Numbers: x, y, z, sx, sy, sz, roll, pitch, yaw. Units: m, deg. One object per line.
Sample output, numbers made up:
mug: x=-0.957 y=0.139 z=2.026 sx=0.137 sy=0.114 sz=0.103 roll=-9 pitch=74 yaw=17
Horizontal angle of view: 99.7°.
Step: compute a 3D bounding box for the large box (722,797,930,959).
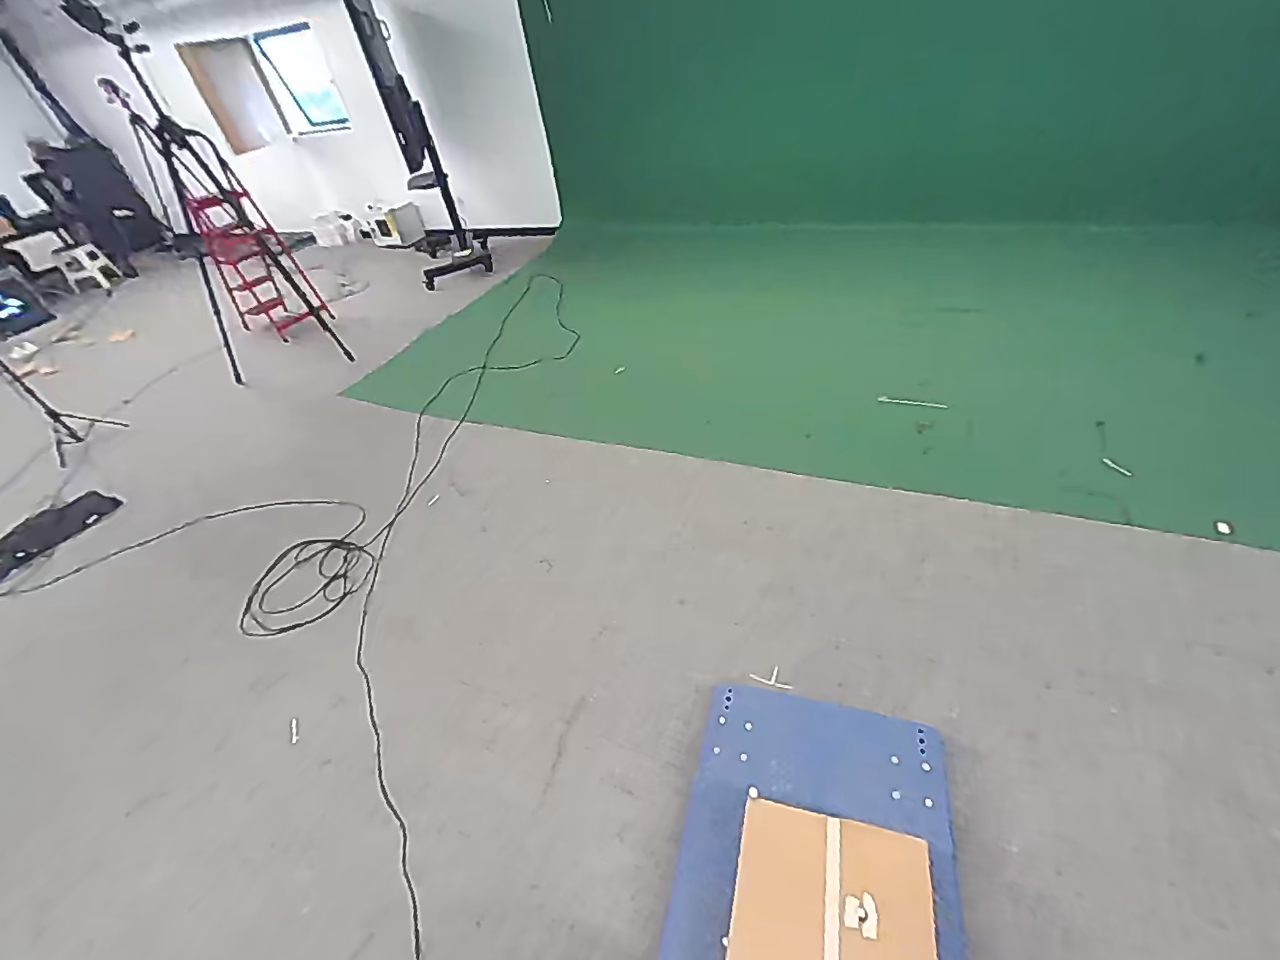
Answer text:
large box: x=0.312 y=0.861 z=0.946 sx=0.320 sy=0.320 sz=0.408 roll=6 pitch=42 yaw=17
